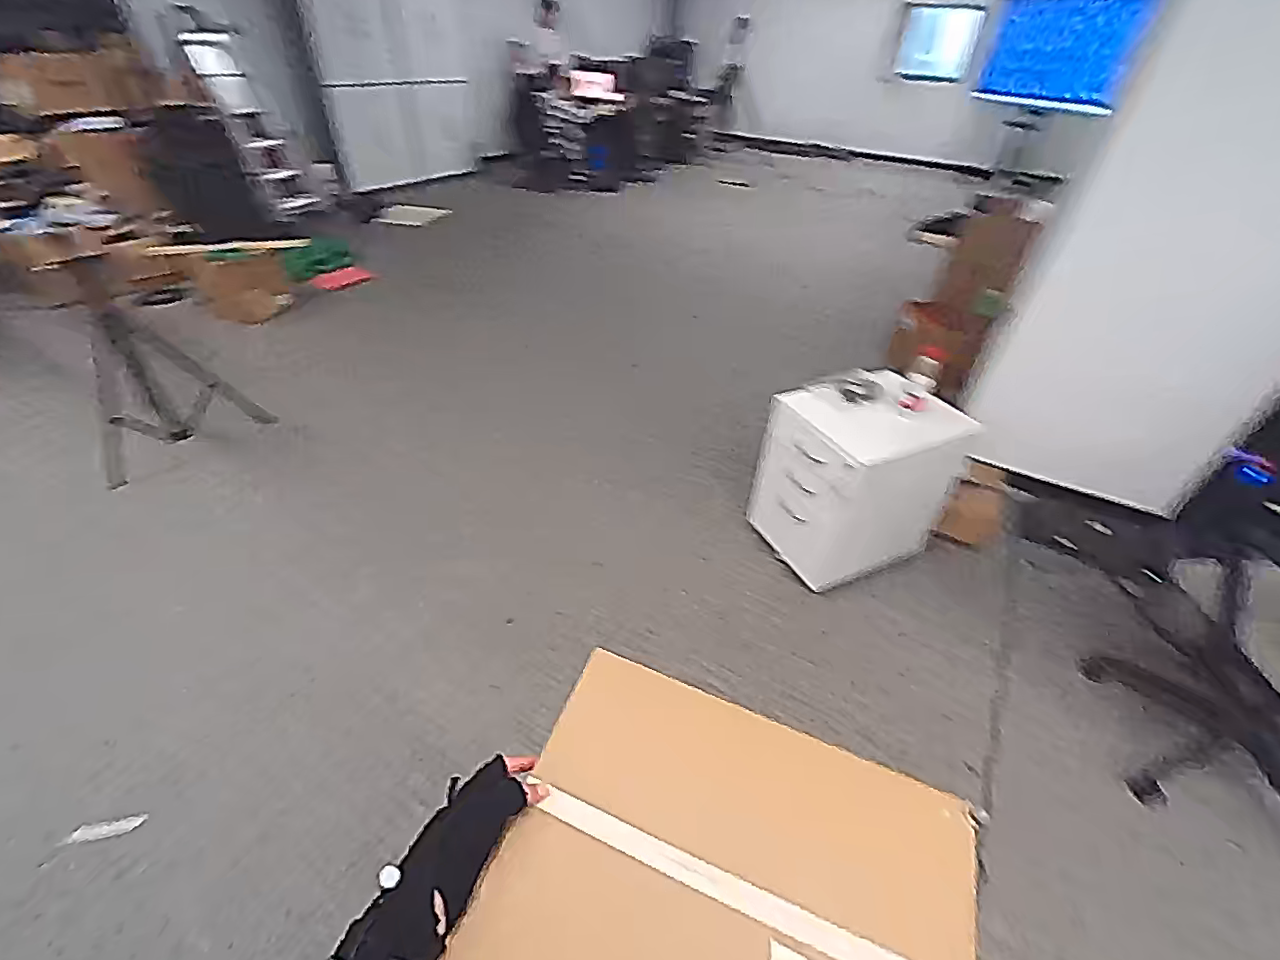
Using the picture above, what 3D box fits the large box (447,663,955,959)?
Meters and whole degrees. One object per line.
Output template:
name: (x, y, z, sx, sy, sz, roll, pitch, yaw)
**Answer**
large box: (0.063, 0.470, 0.591, 0.408, 0.320, 0.320, 18, 49, 13)
